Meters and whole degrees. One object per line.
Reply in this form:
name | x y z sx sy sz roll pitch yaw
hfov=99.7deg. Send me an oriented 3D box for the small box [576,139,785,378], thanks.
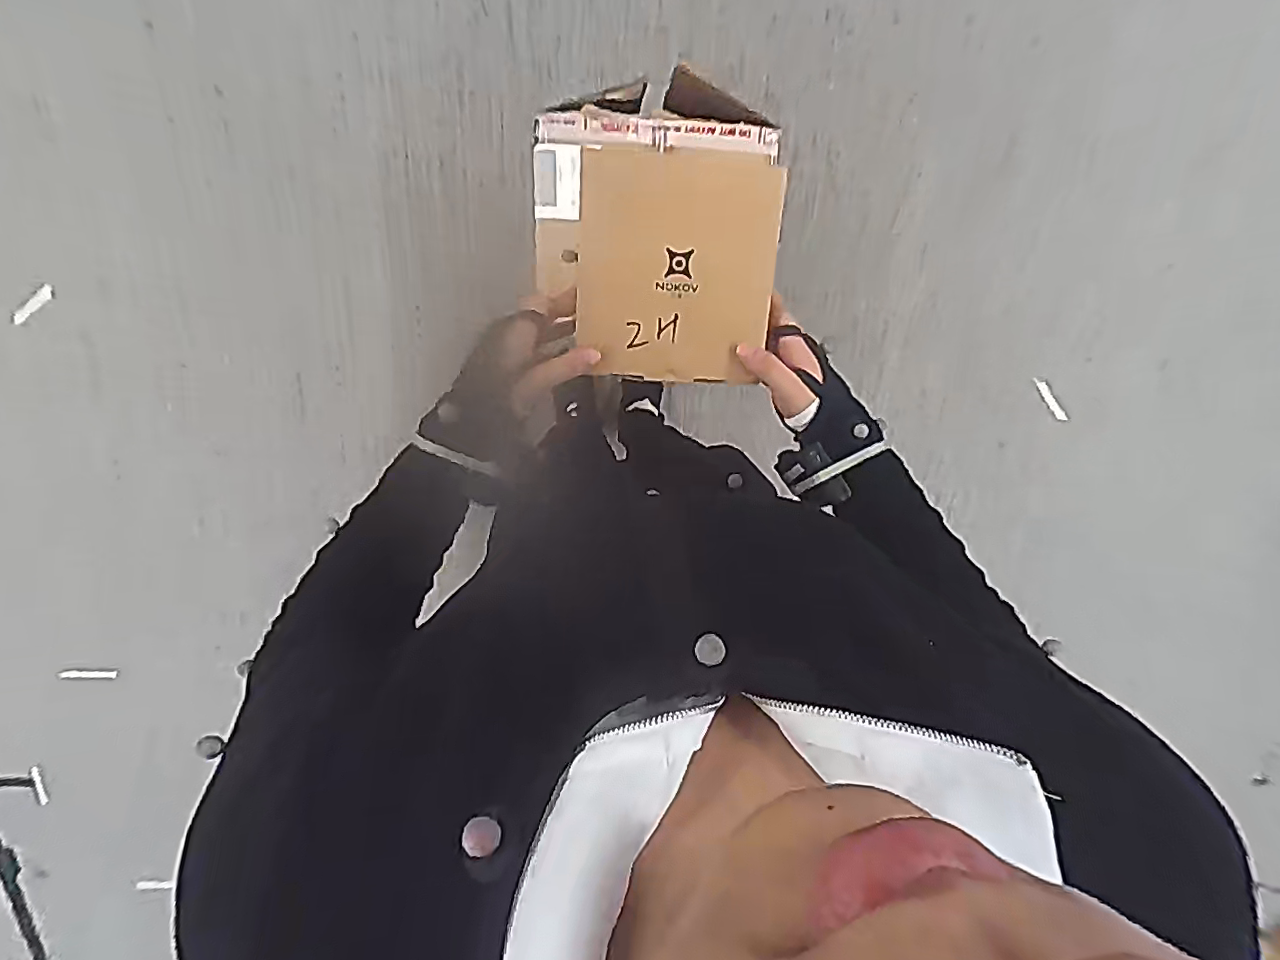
small box | 0.023 -0.200 0.525 0.168 0.176 0.179 2 108 -6
